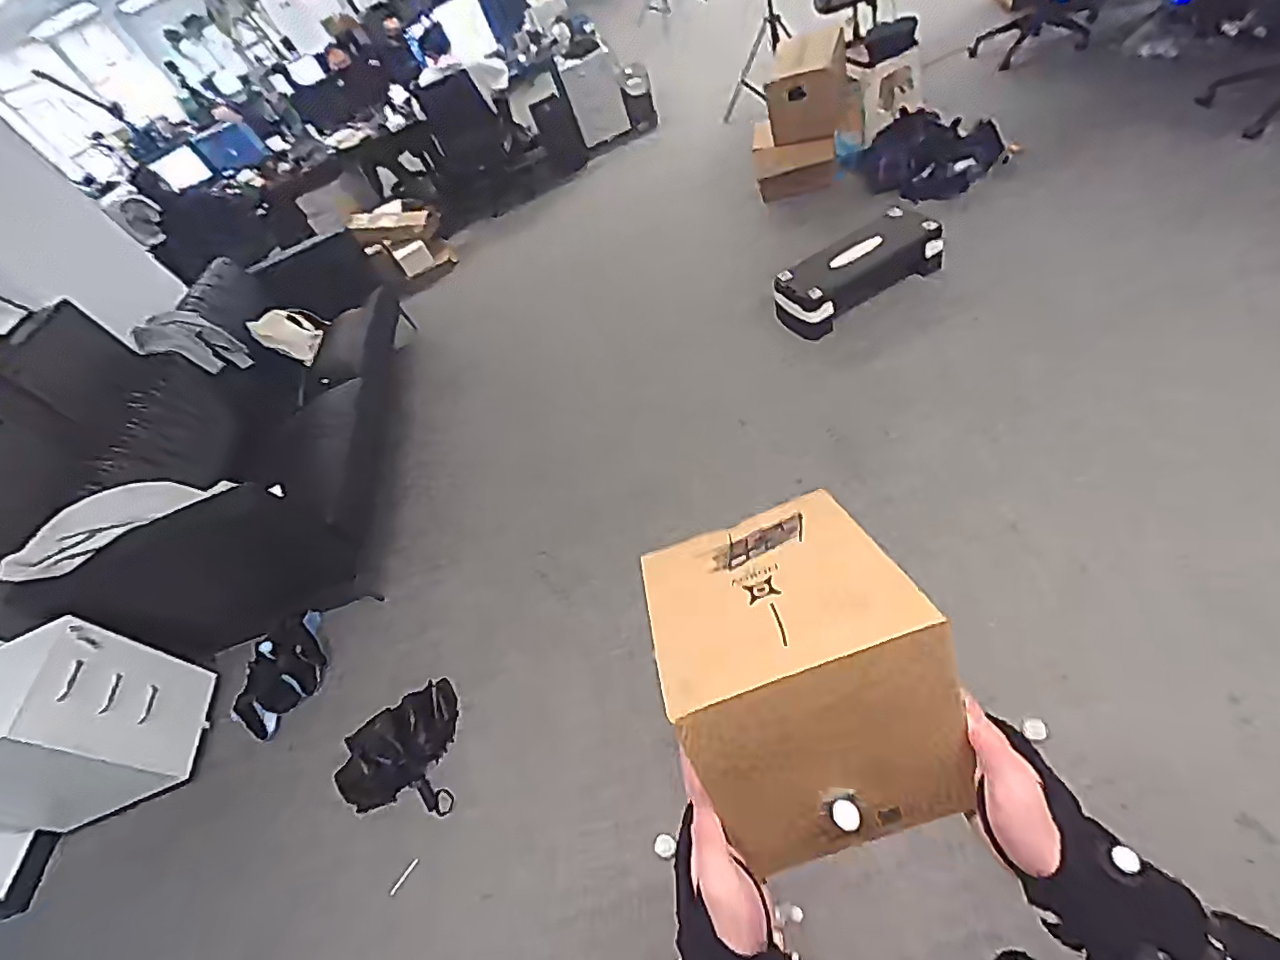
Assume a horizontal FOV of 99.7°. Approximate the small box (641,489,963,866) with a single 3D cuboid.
[{"bbox_3d":[0.109,0.138,0.408,0.168,0.176,0.179,-21,25,6],"label":"small box"}]
